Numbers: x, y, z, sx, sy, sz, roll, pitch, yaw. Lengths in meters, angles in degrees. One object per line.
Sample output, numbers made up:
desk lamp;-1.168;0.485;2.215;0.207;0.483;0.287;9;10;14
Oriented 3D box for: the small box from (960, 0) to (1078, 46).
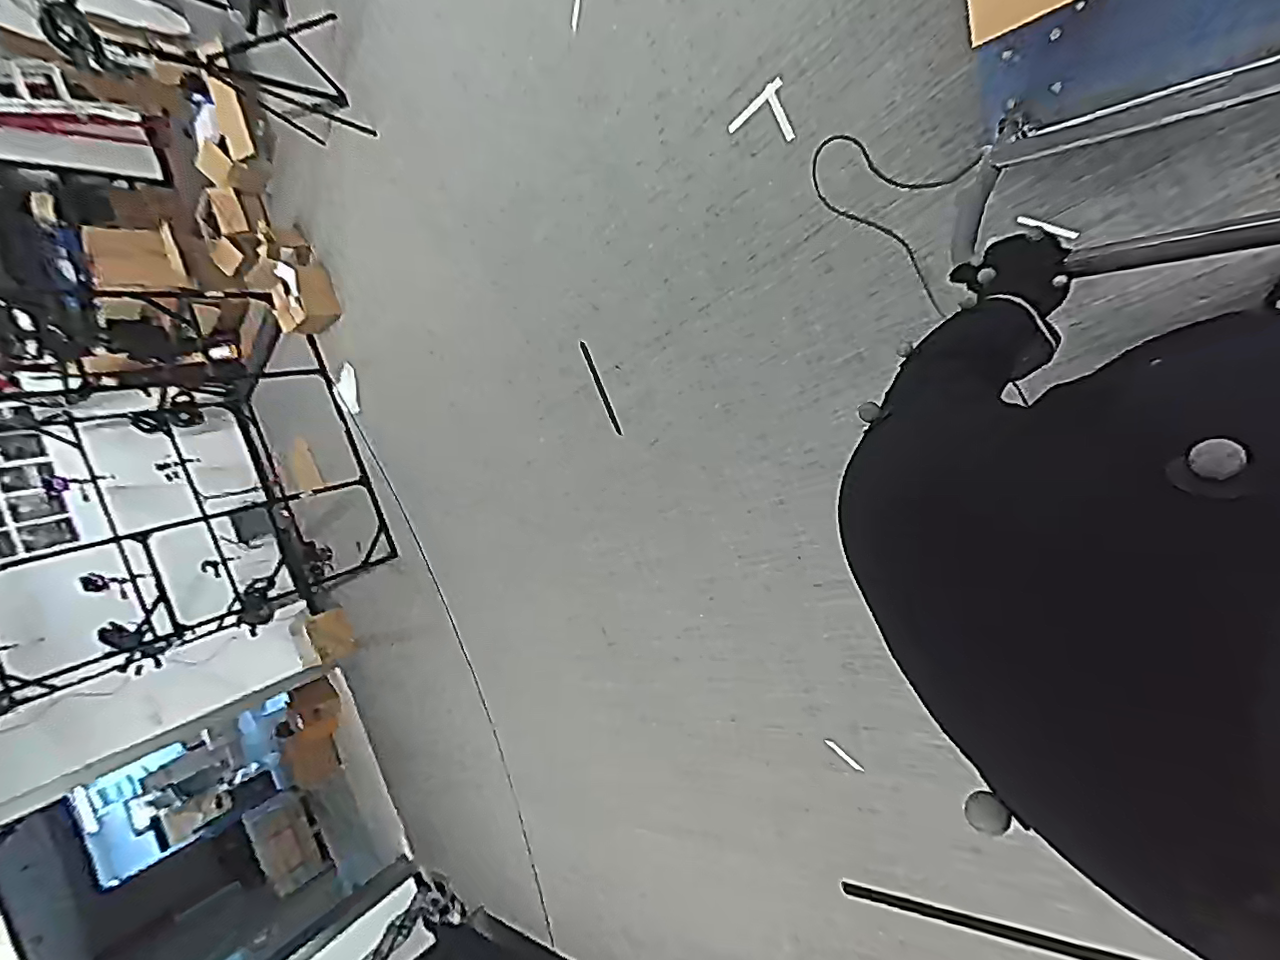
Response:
small box;0.607;-0.812;0.838;0.179;0.176;0.168;-2;122;41
